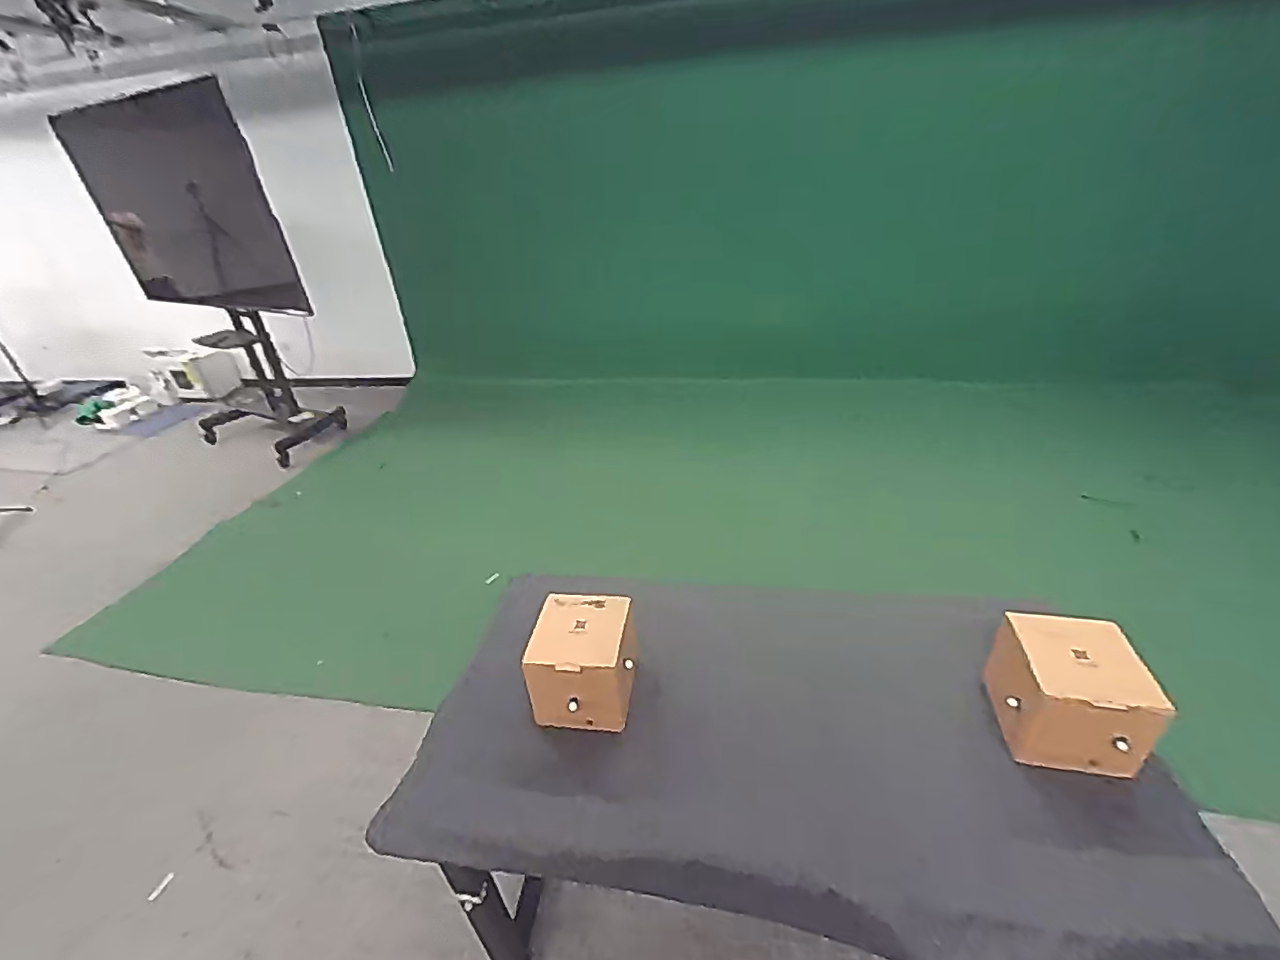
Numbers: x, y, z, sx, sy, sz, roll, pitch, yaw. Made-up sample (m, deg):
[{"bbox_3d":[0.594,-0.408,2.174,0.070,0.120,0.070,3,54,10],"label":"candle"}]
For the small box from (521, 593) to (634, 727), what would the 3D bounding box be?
[{"bbox_3d":[-0.106,0.337,1.019,0.168,0.176,0.179,1,31,8],"label":"small box"}]

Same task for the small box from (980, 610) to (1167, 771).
[{"bbox_3d":[0.691,0.343,0.889,0.168,0.176,0.179,3,30,12],"label":"small box"}]
